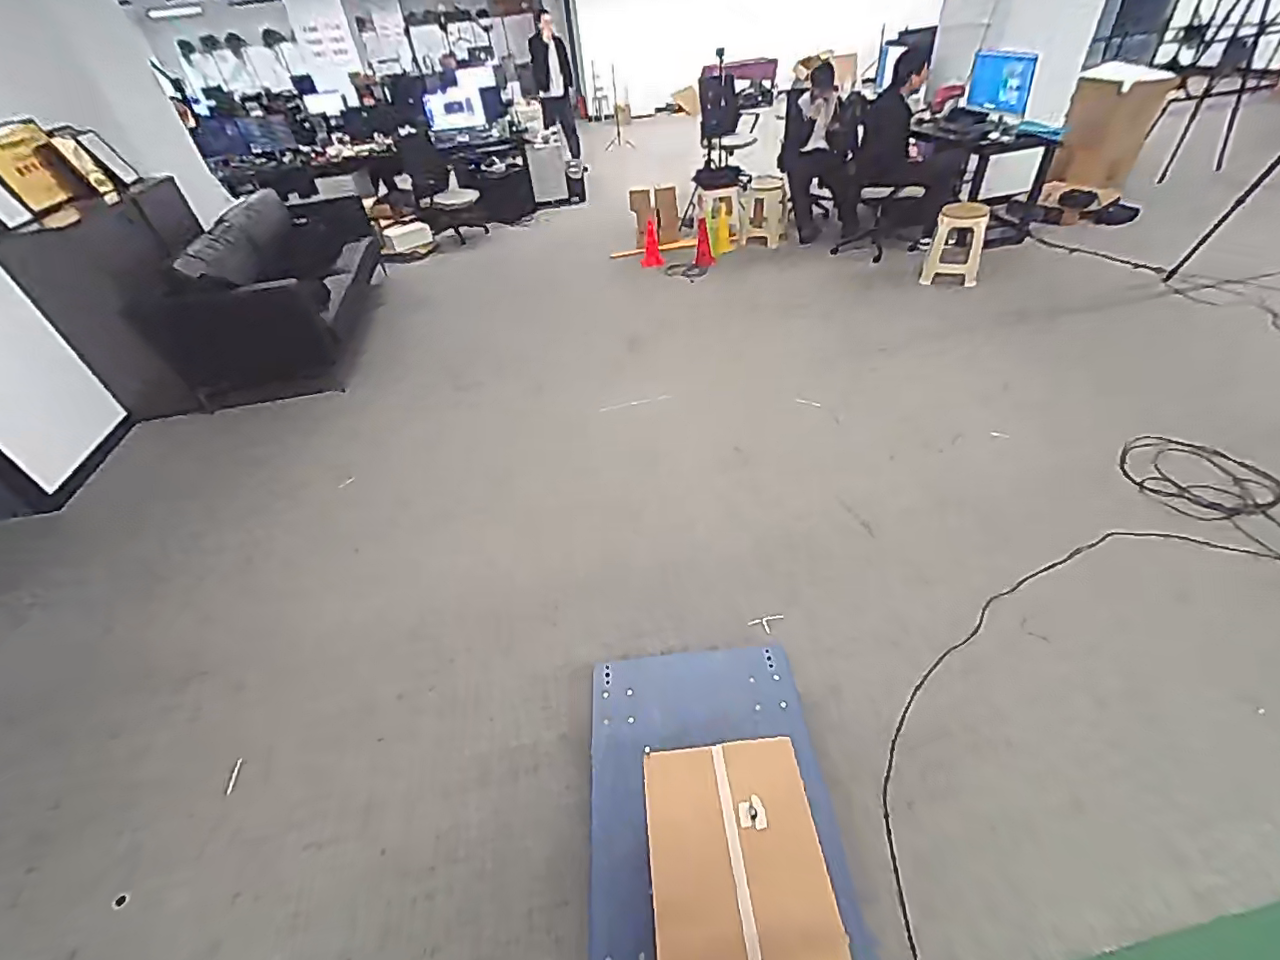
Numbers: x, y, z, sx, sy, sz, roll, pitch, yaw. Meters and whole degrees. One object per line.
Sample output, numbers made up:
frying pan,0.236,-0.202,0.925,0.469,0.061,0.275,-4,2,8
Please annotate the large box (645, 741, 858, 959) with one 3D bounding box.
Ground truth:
large box,0.195,0.799,1.061,0.320,0.320,0.408,-7,39,0
